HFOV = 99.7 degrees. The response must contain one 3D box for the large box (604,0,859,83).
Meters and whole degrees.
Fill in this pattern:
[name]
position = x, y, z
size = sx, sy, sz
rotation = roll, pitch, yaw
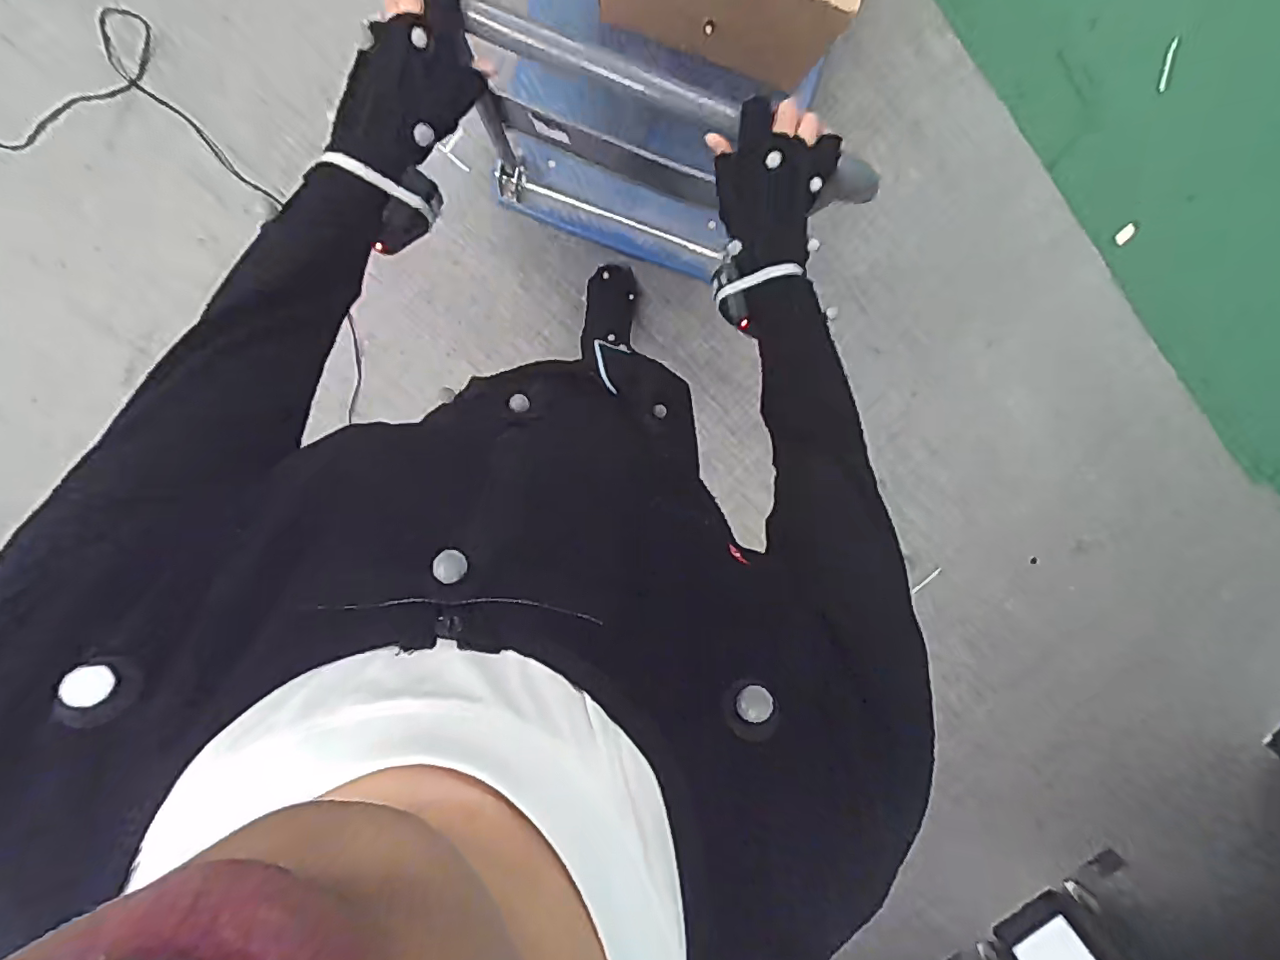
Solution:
[large box]
position = 0.168, -0.933, 0.883
size = 0.408, 0.320, 0.320
rotation = 15, 105, -7
